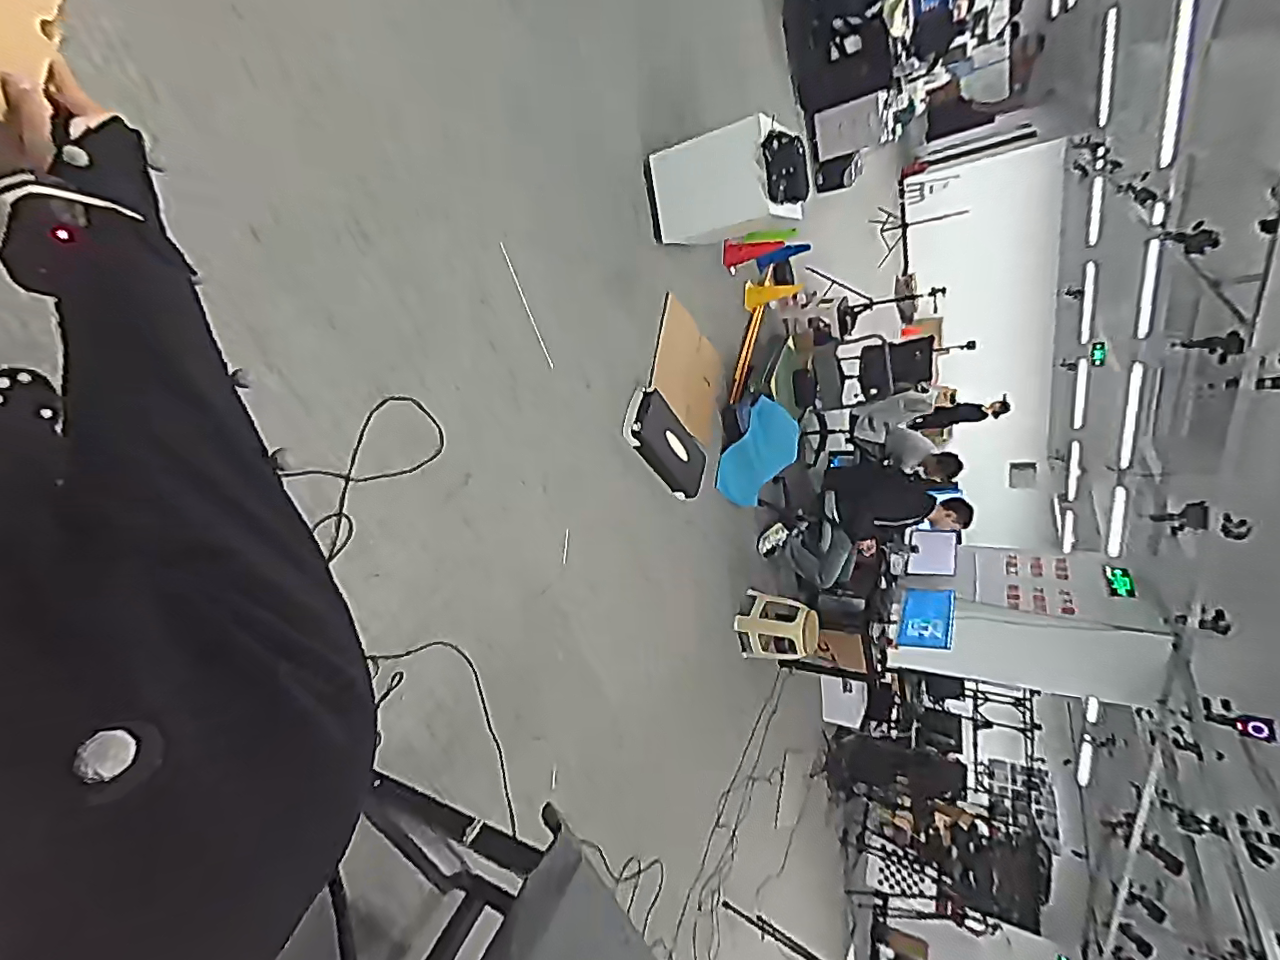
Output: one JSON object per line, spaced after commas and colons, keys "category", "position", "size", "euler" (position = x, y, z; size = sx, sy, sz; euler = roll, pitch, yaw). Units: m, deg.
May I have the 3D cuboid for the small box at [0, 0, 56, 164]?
{"category": "small box", "position": [-0.561, -0.363, 0.389], "size": [0.179, 0.176, 0.168], "euler": [11, 88, -53]}
